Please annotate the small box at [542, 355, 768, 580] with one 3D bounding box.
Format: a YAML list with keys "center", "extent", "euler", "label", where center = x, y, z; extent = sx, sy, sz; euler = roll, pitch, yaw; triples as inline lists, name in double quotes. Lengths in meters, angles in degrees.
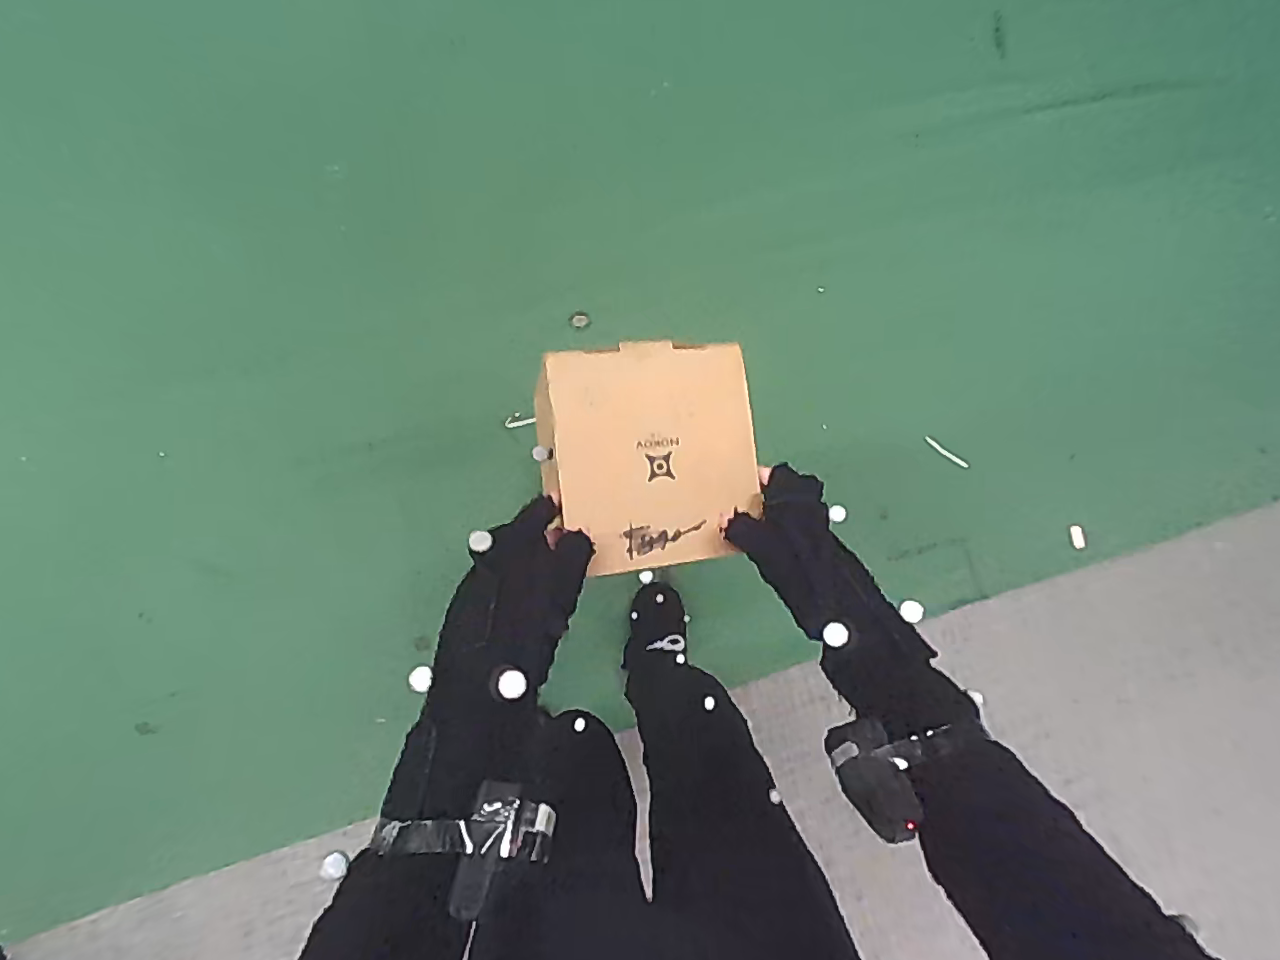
- center: [0.001, -0.007, 0.518]
  extent: [0.168, 0.176, 0.179]
  euler: [-6, 87, -14]
  label: "small box"
